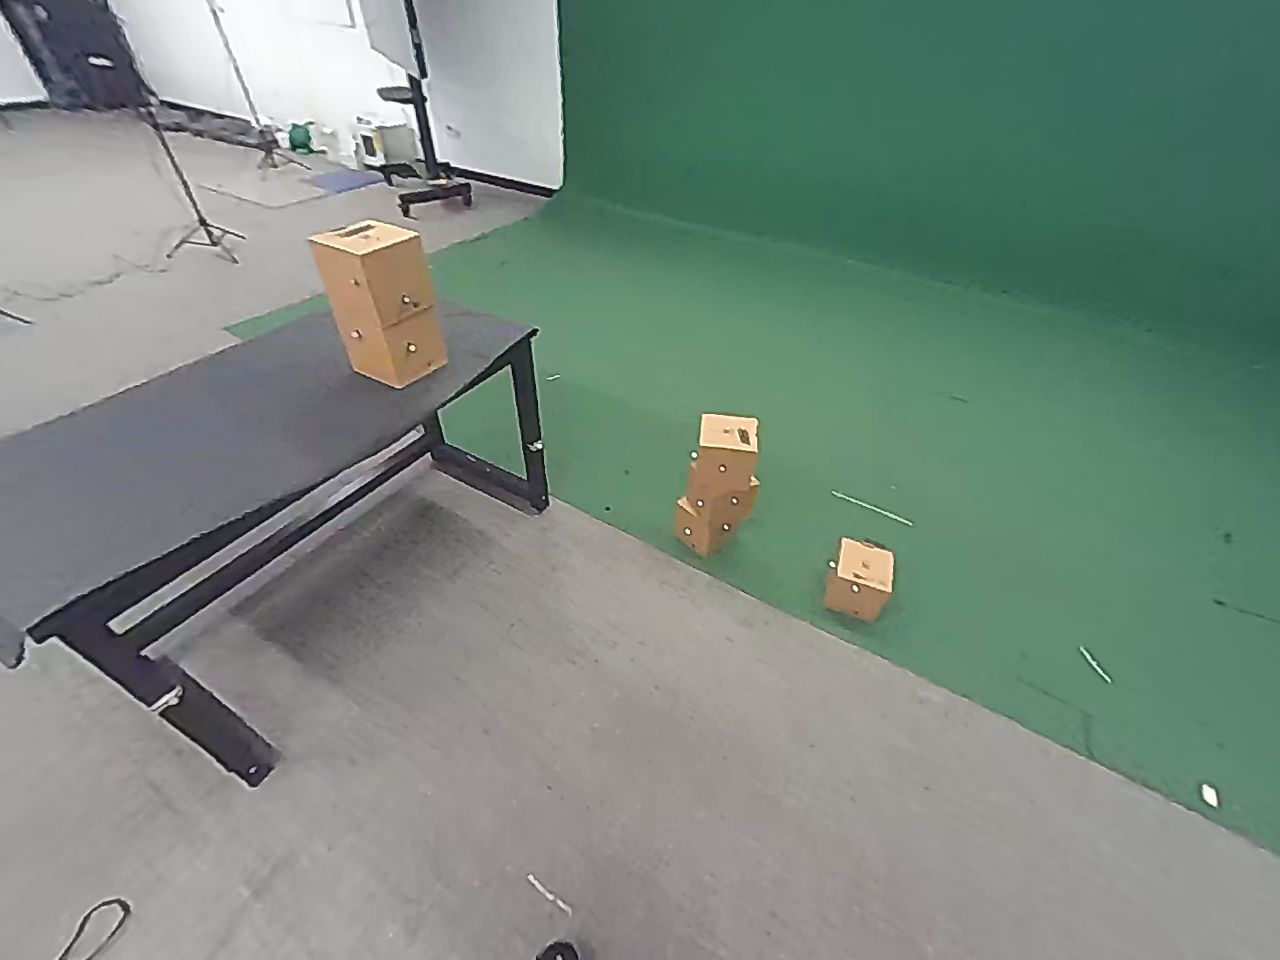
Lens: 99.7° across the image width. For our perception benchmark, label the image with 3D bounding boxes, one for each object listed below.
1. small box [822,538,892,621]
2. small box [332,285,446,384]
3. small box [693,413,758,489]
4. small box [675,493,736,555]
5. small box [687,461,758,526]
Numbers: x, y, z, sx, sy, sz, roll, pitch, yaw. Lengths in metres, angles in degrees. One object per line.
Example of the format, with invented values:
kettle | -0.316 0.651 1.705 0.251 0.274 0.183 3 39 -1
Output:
small box | 0.709 0.326 1.770 0.168 0.176 0.179 18 44 14
small box | -0.617 -0.360 1.352 0.179 0.176 0.168 23 46 22
small box | 0.268 -0.089 1.707 0.179 0.176 0.168 7 44 5
small box | 0.238 0.138 1.942 0.179 0.176 0.168 -31 53 -31
small box | 0.268 0.034 1.816 0.179 0.176 0.168 -13 47 -18
